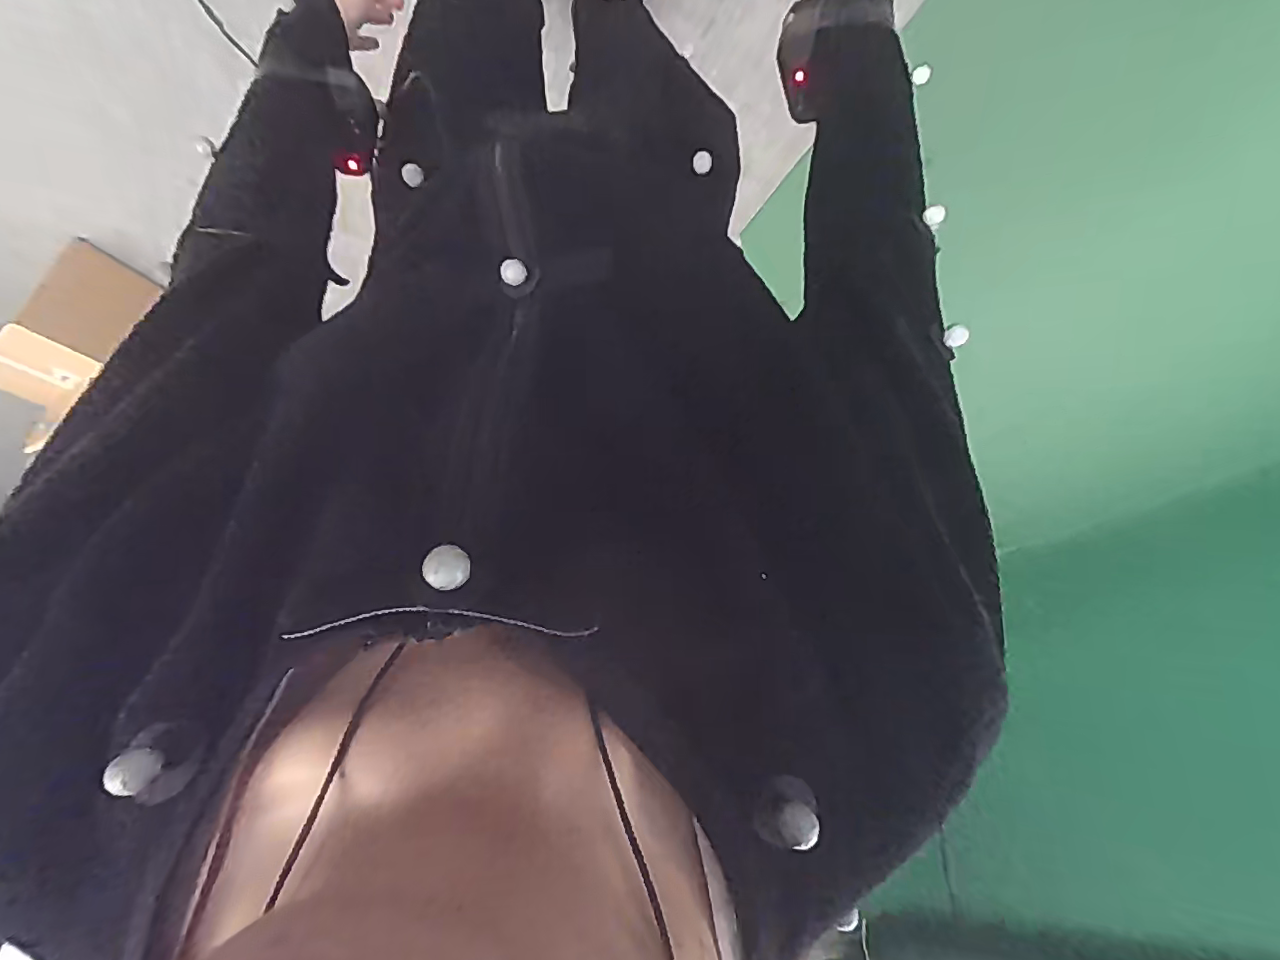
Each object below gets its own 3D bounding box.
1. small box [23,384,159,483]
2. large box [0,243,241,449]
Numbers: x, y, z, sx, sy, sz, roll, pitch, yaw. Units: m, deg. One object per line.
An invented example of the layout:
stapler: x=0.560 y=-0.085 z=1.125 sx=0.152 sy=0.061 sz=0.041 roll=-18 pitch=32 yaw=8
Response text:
small box: x=-1.407 y=-0.118 z=1.399 sx=0.179 sy=0.176 sz=0.168 roll=-16 pitch=147 yaw=21
large box: x=-1.435 y=-0.348 z=1.488 sx=0.320 sy=0.320 sz=0.408 roll=-20 pitch=144 yaw=24
